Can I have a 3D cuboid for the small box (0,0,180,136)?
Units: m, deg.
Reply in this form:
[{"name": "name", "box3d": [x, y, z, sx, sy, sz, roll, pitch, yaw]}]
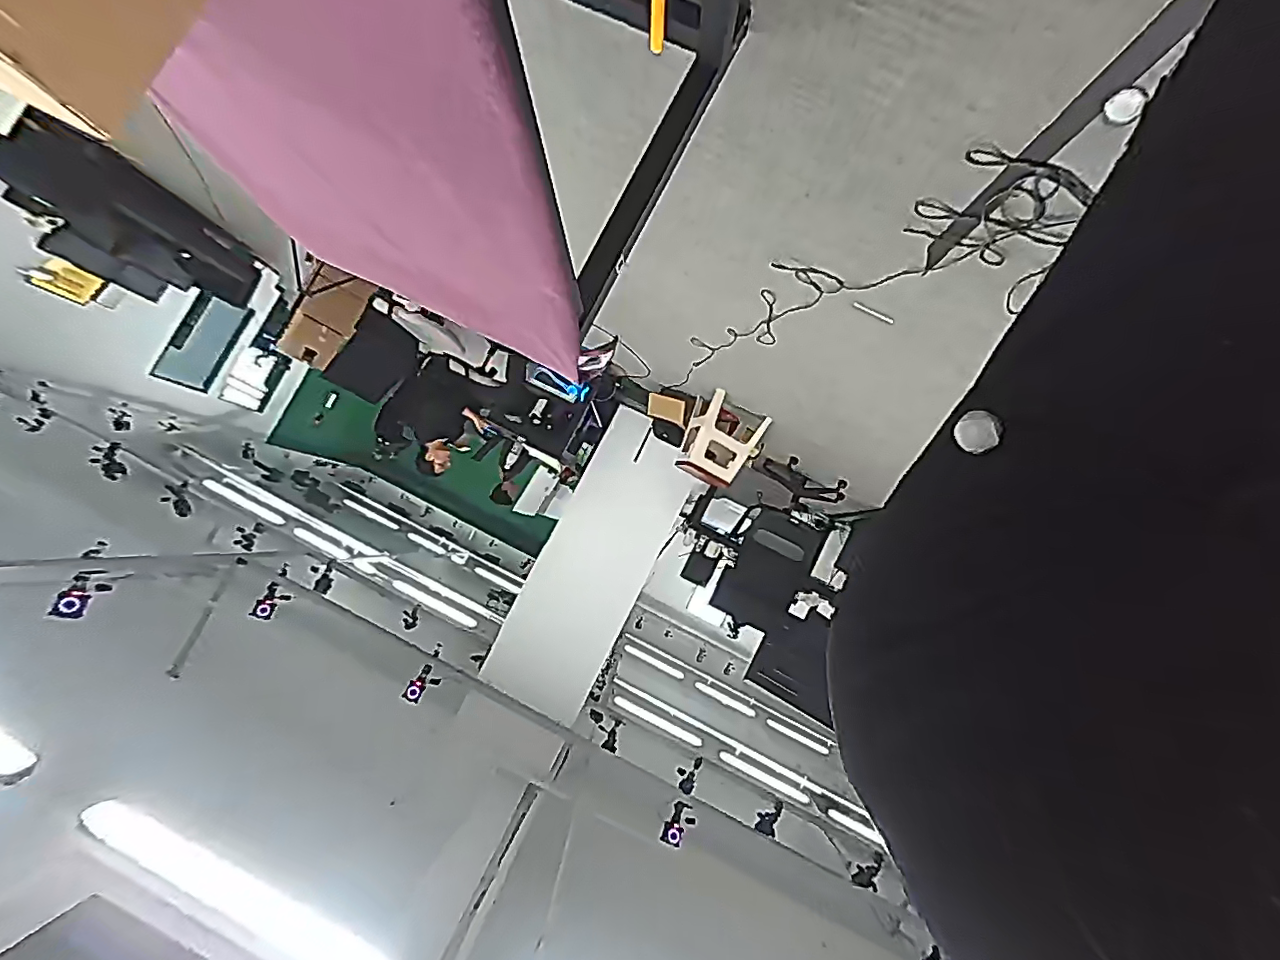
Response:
[{"name": "small box", "box3d": [-0.375, -0.336, 0.273, 0.179, 0.176, 0.168, 27, 176, 1]}]
